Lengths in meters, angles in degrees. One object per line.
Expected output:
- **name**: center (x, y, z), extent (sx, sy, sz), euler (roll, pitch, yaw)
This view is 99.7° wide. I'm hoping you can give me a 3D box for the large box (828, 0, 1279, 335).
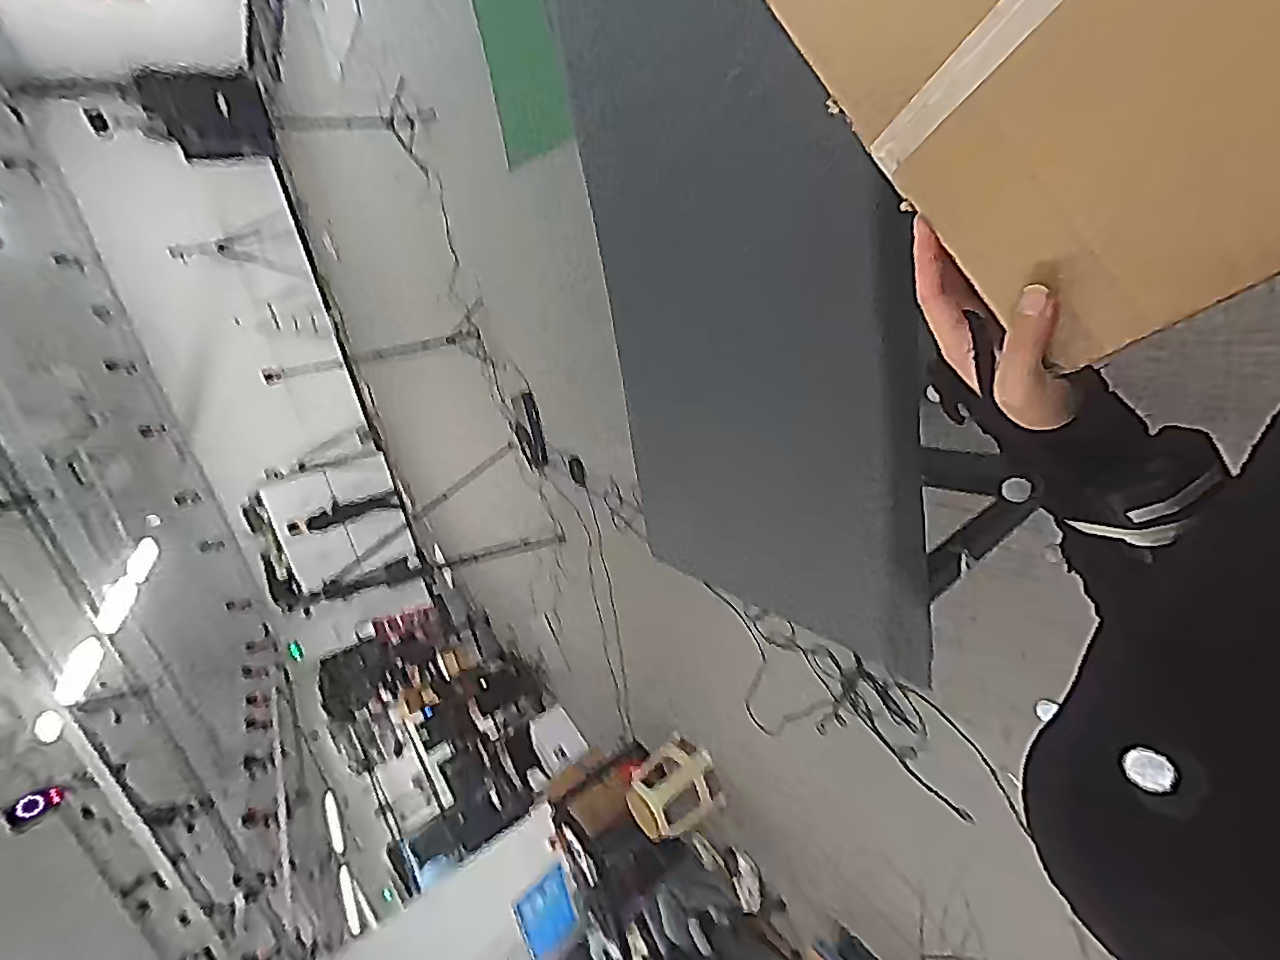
- **large box**: center (0.348, -0.331, 0.224), extent (0.320, 0.320, 0.408), euler (57, 145, 4)
